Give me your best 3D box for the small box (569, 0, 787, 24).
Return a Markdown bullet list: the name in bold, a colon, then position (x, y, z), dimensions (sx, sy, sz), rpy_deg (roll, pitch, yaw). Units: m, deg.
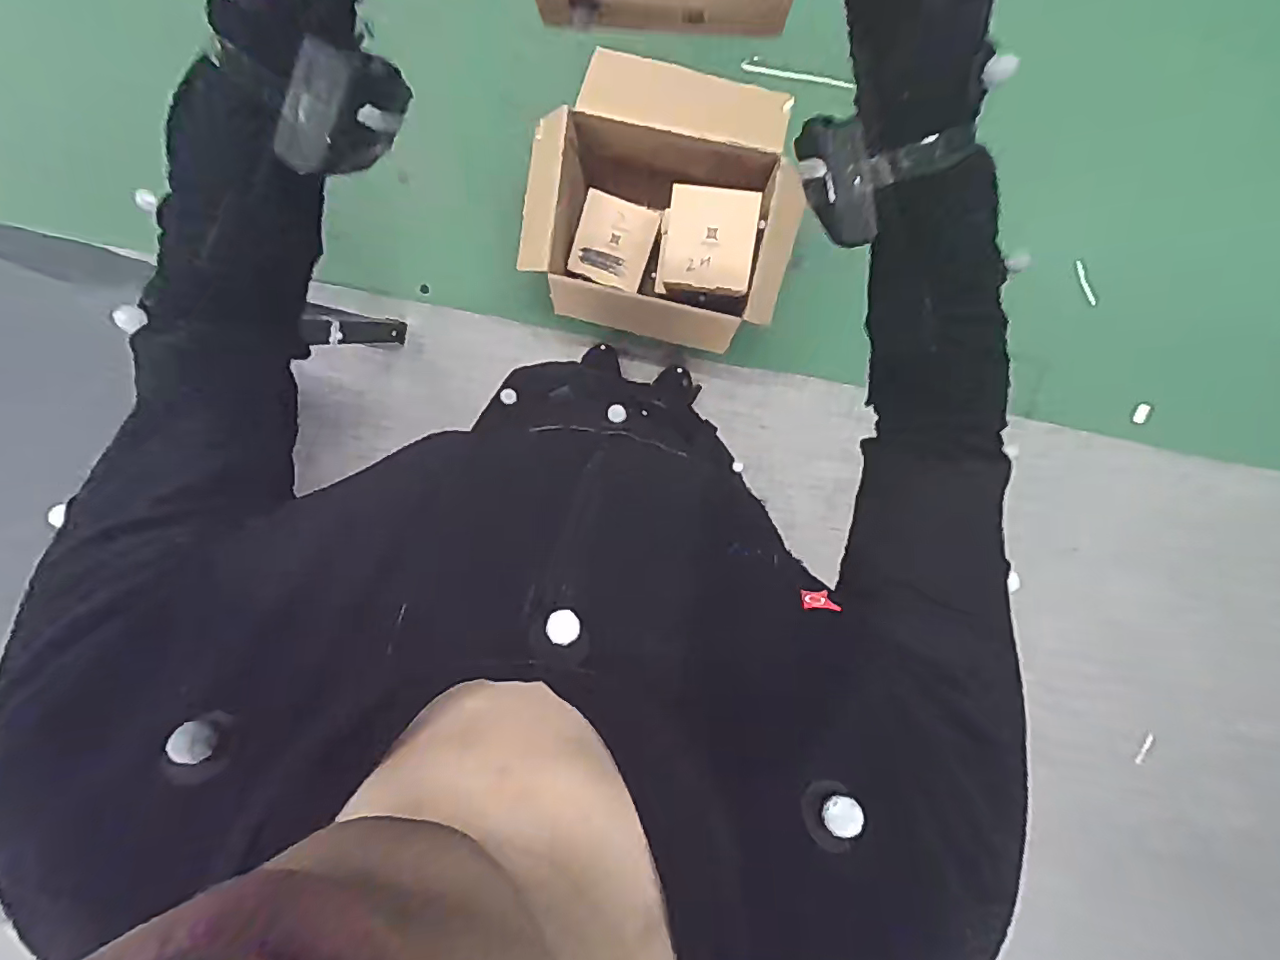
- **small box**: position (0.017, -0.373, 0.268), dimensions (0.168, 0.176, 0.179), rpy_deg (5, 102, 2)
